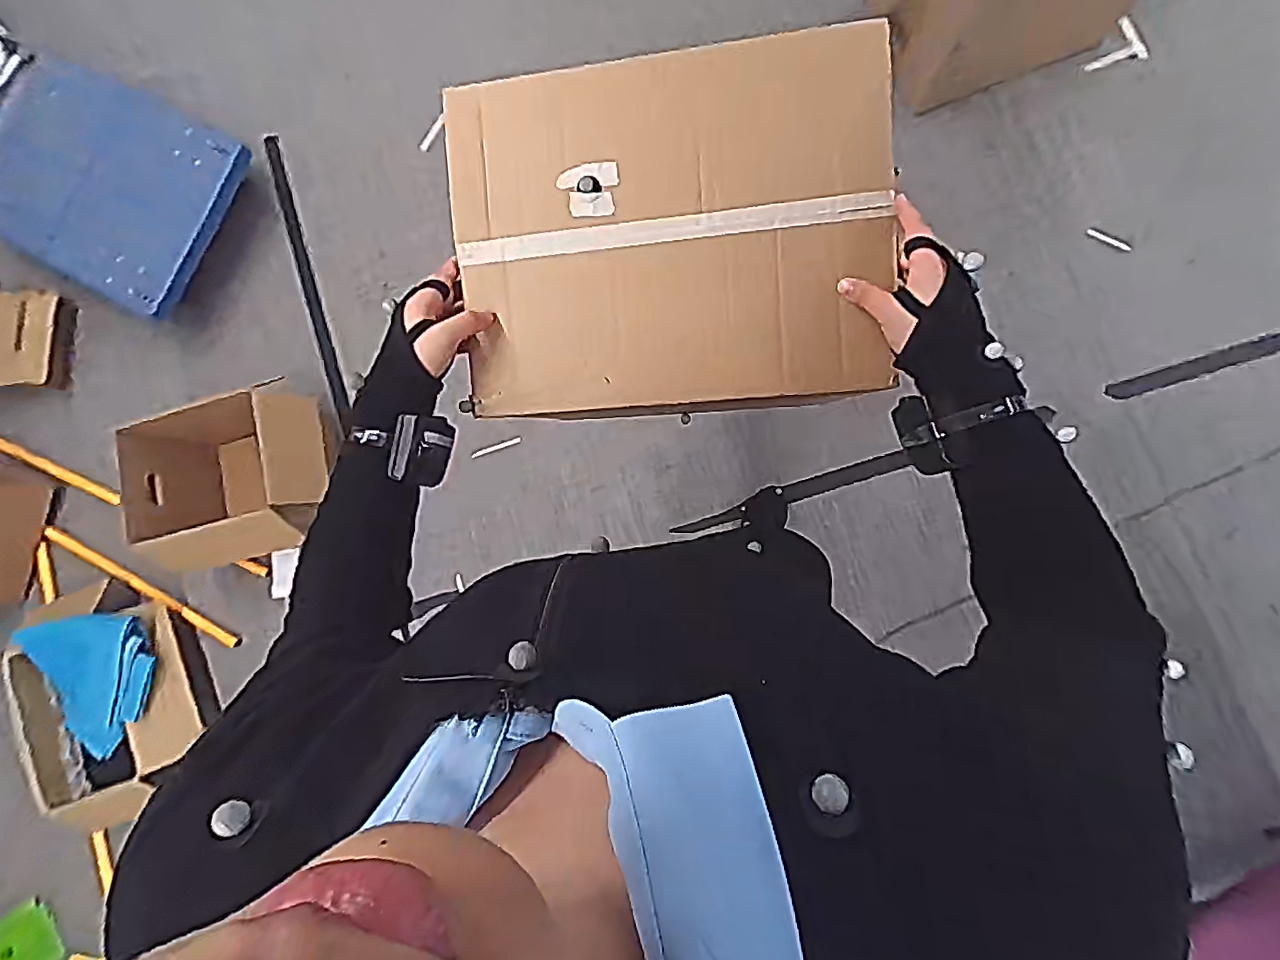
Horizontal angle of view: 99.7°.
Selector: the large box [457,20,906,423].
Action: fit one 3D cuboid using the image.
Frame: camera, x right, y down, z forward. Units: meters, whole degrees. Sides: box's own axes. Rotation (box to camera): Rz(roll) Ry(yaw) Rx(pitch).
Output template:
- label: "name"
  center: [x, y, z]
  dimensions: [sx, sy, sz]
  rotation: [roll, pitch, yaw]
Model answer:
- label: "large box"
  center: [0.053, -0.238, 0.643]
  dimensions: [0.408, 0.320, 0.320]
  rotation: [-3, 93, 9]
